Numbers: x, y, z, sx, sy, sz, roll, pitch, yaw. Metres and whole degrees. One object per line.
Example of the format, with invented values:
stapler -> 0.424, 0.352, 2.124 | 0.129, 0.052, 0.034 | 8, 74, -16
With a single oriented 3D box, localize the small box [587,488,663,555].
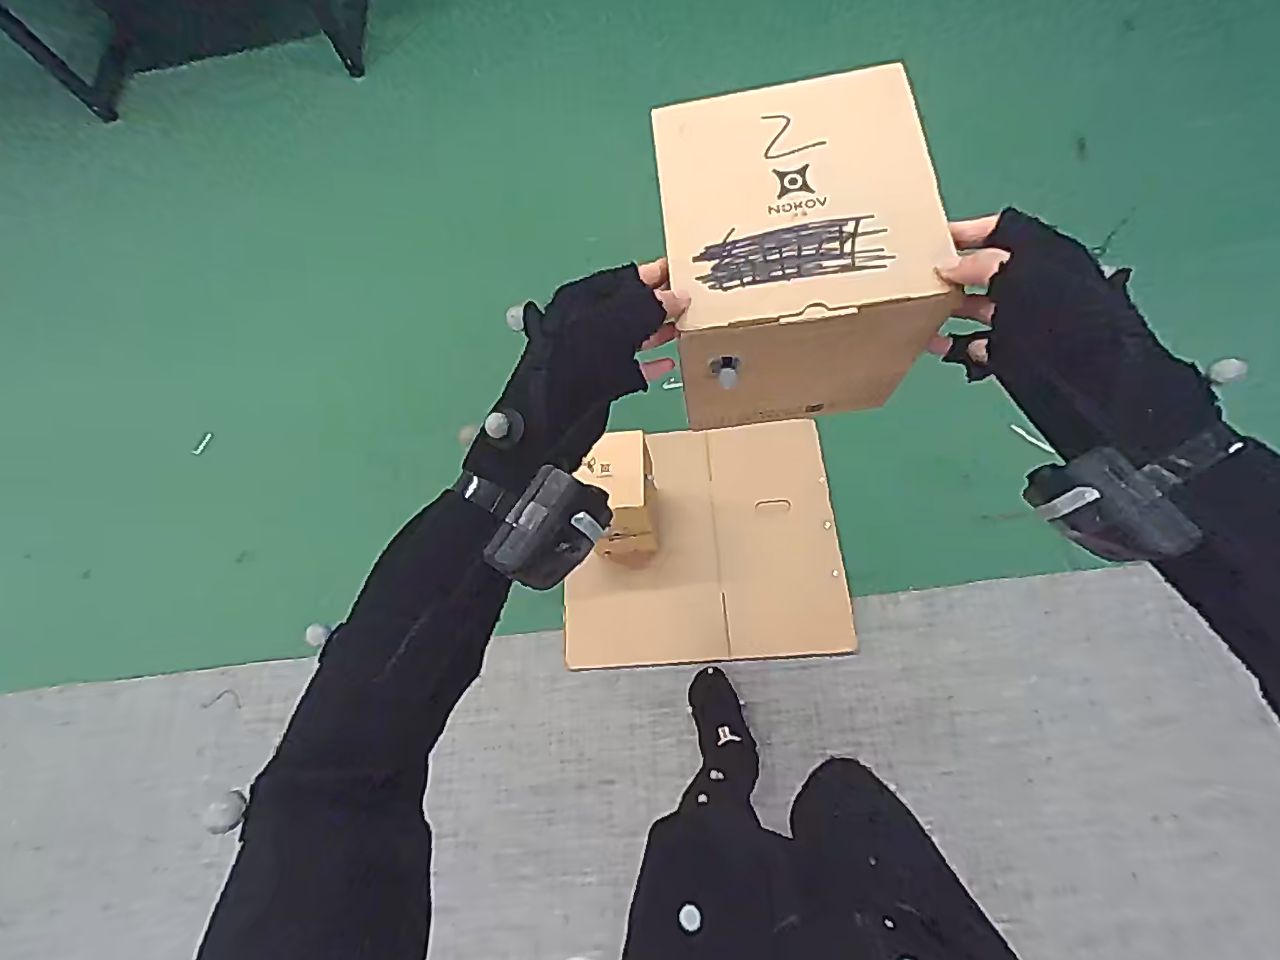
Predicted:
small box -> -0.033, 0.086, 1.352 | 0.168, 0.176, 0.179 | -5, 67, 7

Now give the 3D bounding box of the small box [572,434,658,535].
small box -> -0.051, 0.015, 1.206 | 0.168, 0.176, 0.179 | -3, 69, 7
